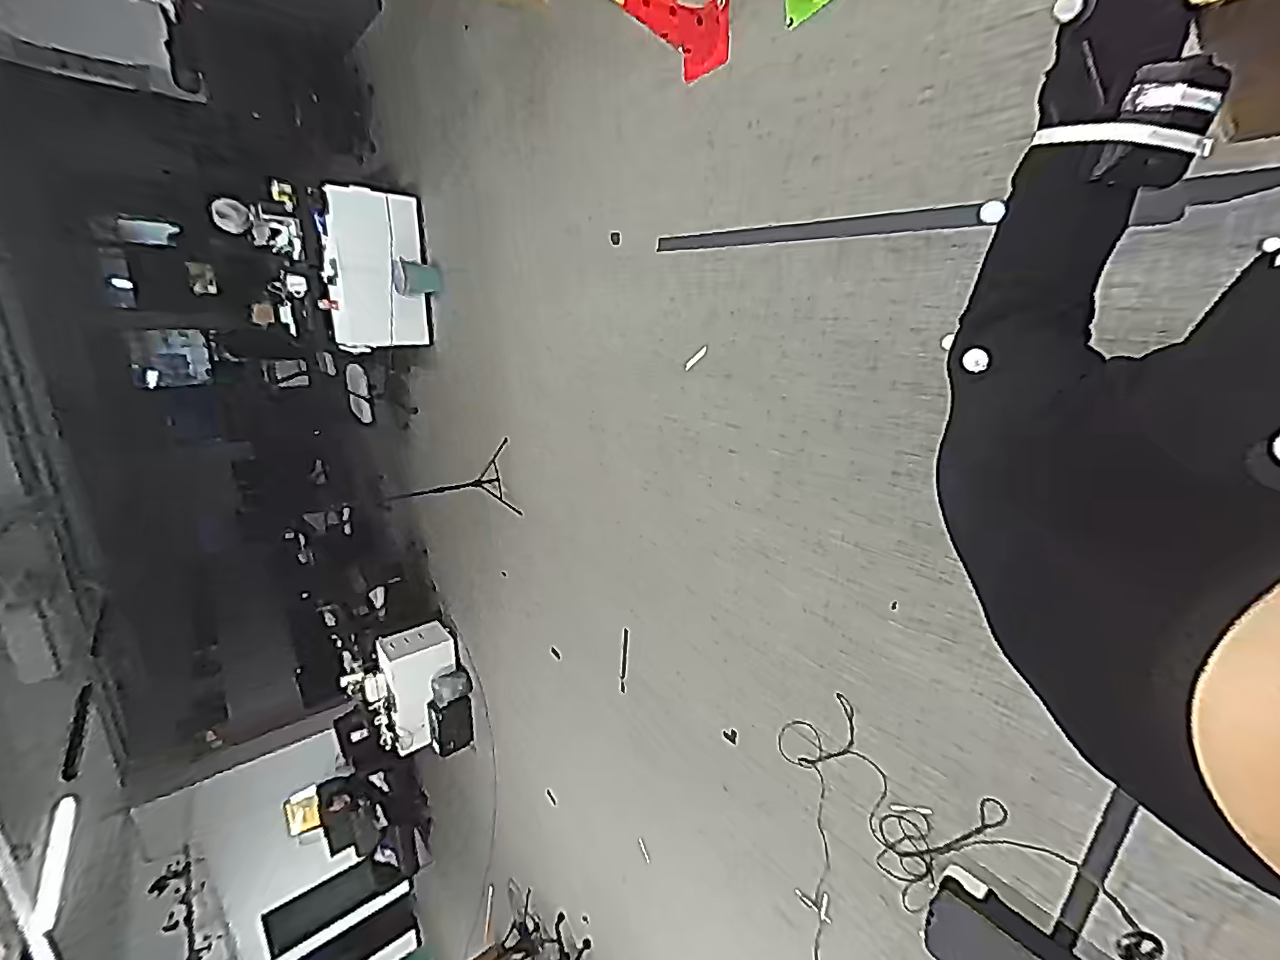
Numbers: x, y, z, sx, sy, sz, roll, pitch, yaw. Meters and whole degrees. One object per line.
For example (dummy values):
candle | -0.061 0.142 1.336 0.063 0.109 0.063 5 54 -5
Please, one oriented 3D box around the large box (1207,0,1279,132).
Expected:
large box | 0.571 -0.411 0.232 0.408 0.320 0.320 19 112 47
